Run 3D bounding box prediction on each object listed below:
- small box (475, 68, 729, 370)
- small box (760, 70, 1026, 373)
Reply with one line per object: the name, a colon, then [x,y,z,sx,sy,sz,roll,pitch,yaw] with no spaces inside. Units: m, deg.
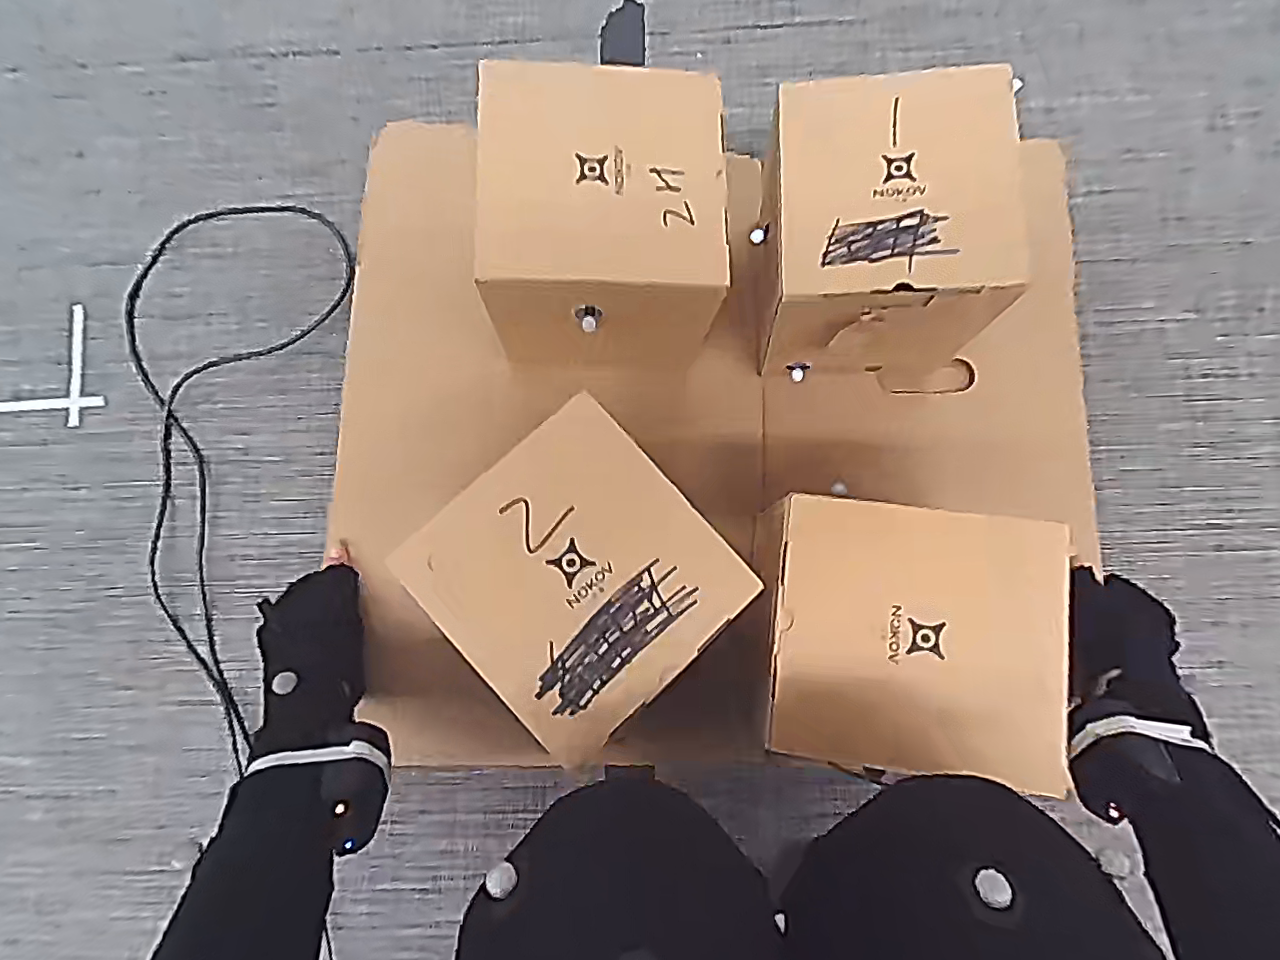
small box: [-0.030,-0.200,0.459,0.179,0.176,0.168,1,82,-5]
small box: [0.196,-0.200,0.468,0.168,0.176,0.179,1,80,8]
